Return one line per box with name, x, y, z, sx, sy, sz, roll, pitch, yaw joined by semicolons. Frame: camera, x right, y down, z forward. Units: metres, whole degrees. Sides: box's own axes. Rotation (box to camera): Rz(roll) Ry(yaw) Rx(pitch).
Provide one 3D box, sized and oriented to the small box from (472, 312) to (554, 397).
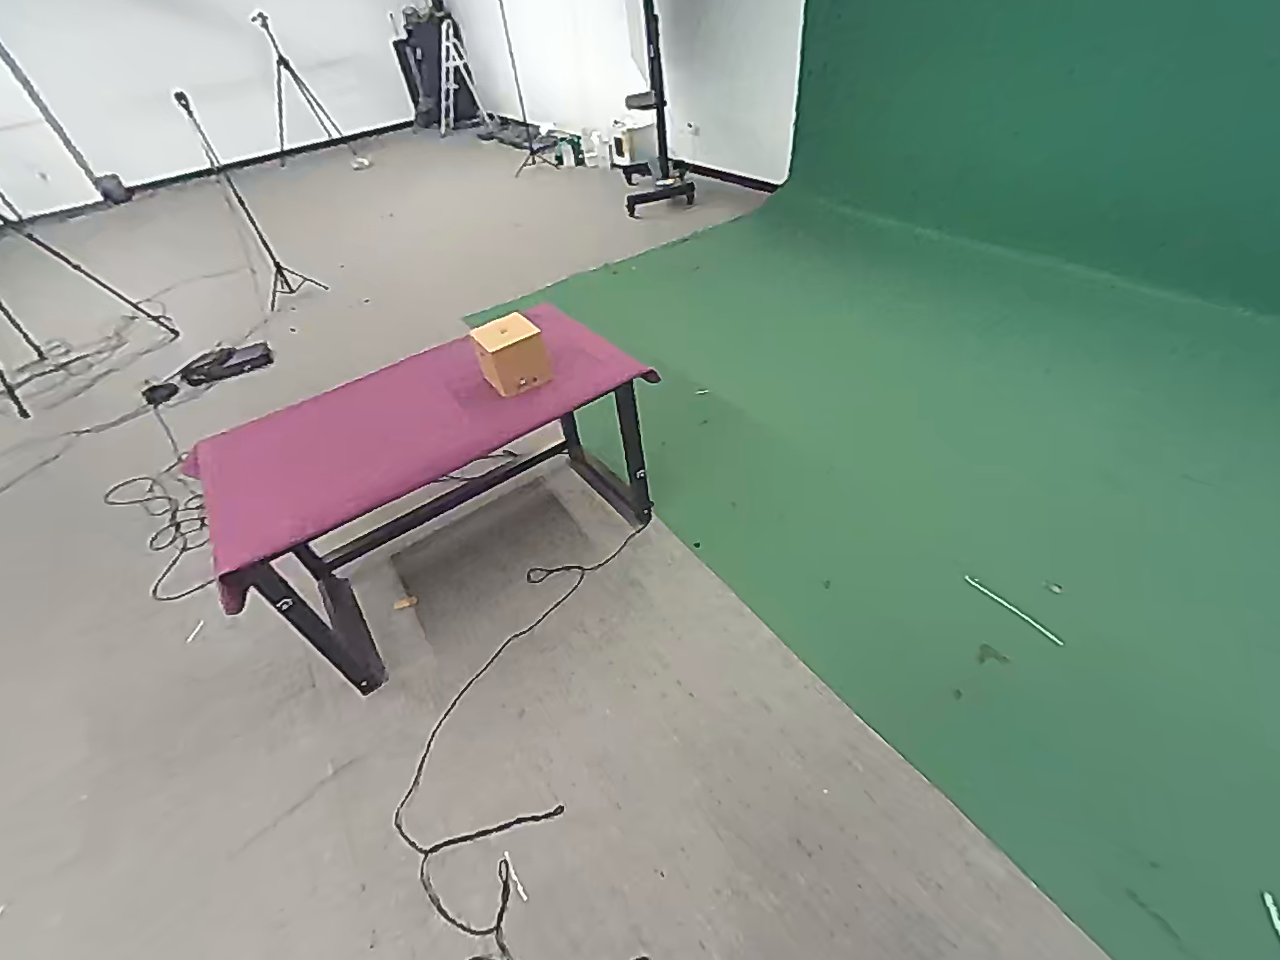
small box;-0.383;-0.380;1.642;0.168;0.176;0.179;-30;47;-18
